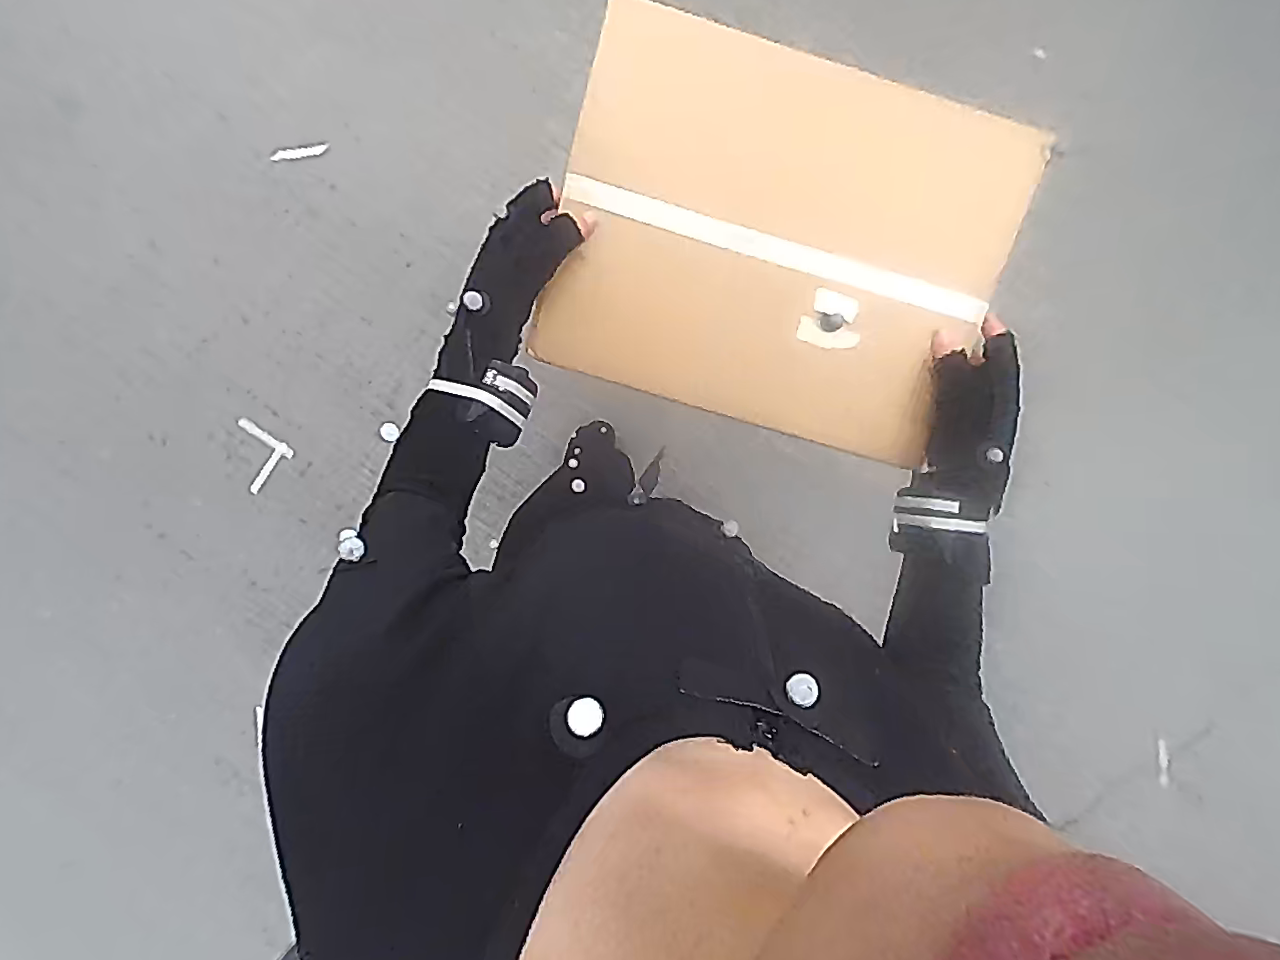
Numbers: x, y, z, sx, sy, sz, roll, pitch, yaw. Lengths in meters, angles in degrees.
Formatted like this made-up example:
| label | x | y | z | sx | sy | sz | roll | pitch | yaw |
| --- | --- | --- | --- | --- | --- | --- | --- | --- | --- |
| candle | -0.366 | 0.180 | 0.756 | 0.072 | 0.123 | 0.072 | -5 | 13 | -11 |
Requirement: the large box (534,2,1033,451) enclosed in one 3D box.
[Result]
| label | x | y | z | sx | sy | sz | roll | pitch | yaw |
| --- | --- | --- | --- | --- | --- | --- | --- | --- | --- |
| large box | 0.122 | -0.249 | 0.647 | 0.408 | 0.320 | 0.320 | 15 | 103 | -4 |
